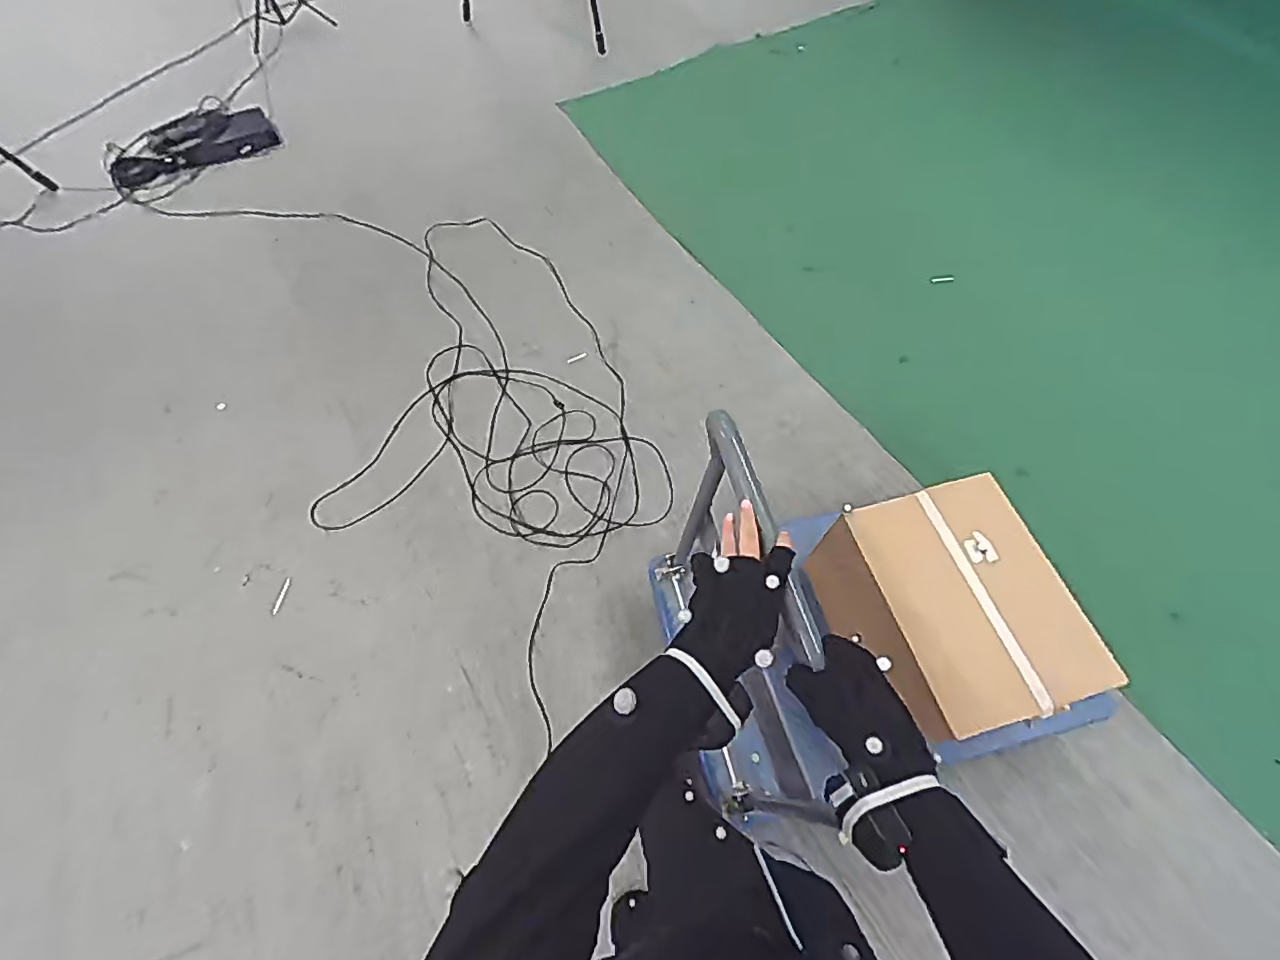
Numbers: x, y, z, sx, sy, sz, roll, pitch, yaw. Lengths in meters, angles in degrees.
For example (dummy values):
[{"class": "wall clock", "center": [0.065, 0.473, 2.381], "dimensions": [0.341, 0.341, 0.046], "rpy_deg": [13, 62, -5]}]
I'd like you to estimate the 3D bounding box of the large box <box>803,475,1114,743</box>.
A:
[{"class": "large box", "center": [0.578, 0.265, 1.084], "dimensions": [0.320, 0.320, 0.408], "rpy_deg": [-14, 62, -7]}]
